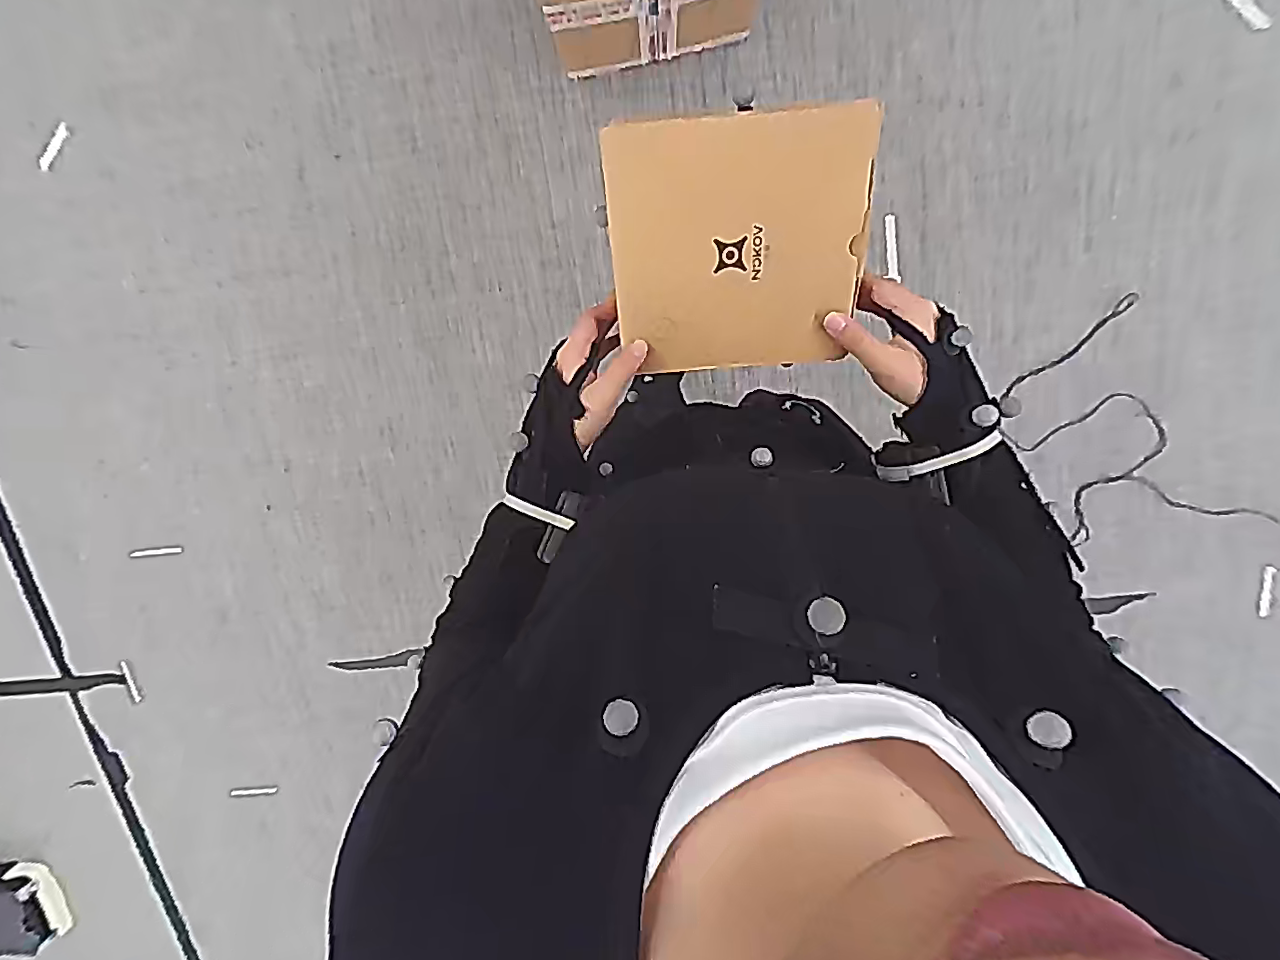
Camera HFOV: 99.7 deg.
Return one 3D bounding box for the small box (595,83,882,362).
[{"bbox_3d":[0.065,-0.207,0.436,0.179,0.176,0.168,-4,124,2],"label":"small box"}]
